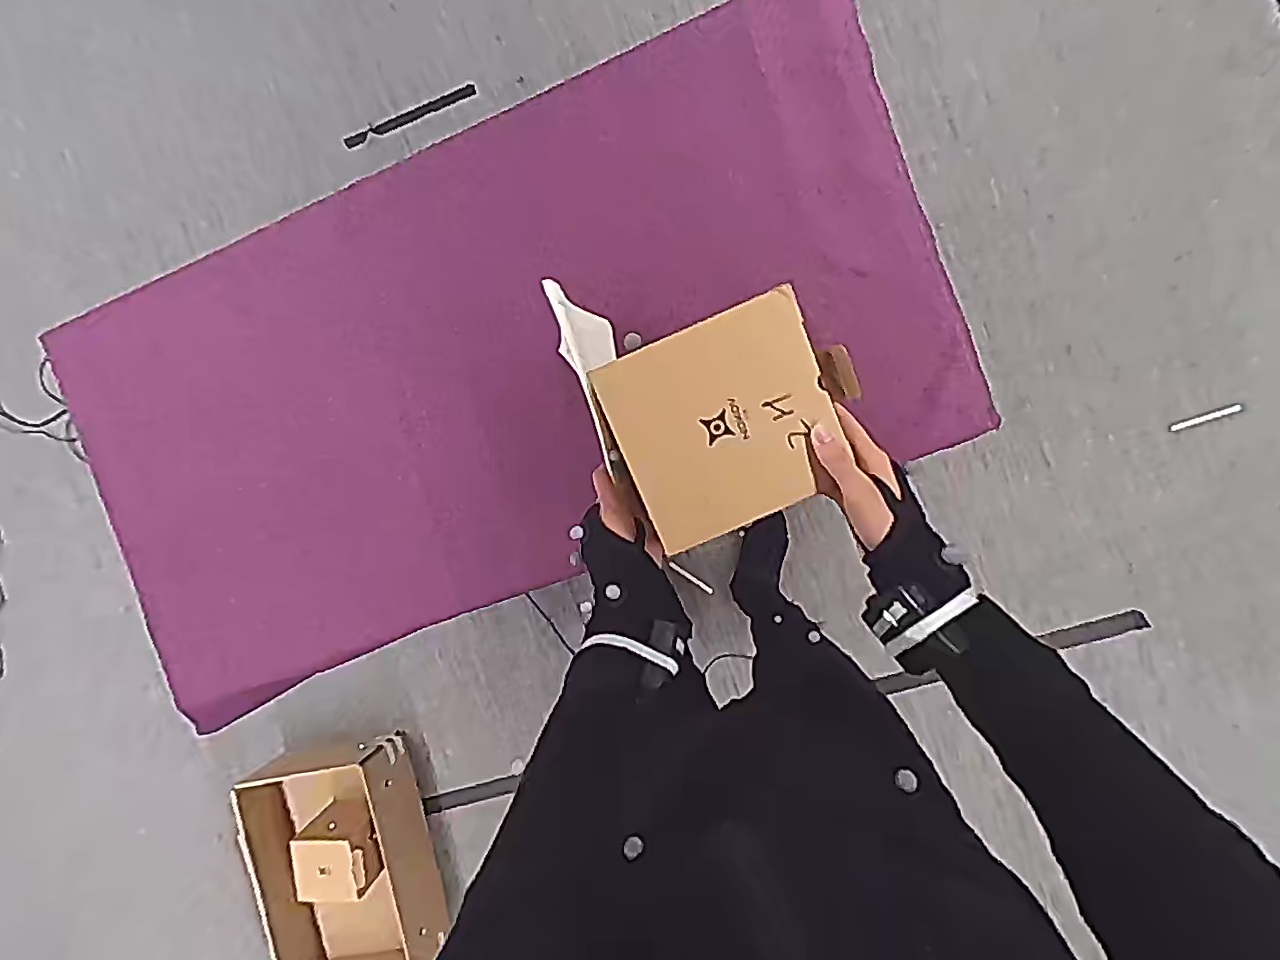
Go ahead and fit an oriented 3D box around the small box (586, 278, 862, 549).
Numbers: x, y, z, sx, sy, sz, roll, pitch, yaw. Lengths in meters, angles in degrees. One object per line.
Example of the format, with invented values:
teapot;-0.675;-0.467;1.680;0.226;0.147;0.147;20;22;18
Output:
small box;0.066;-0.057;0.505;0.179;0.176;0.168;-24;96;0

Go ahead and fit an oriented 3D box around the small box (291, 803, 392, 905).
small box;-0.794;1.002;1.460;0.179;0.176;0.168;-6;92;8
